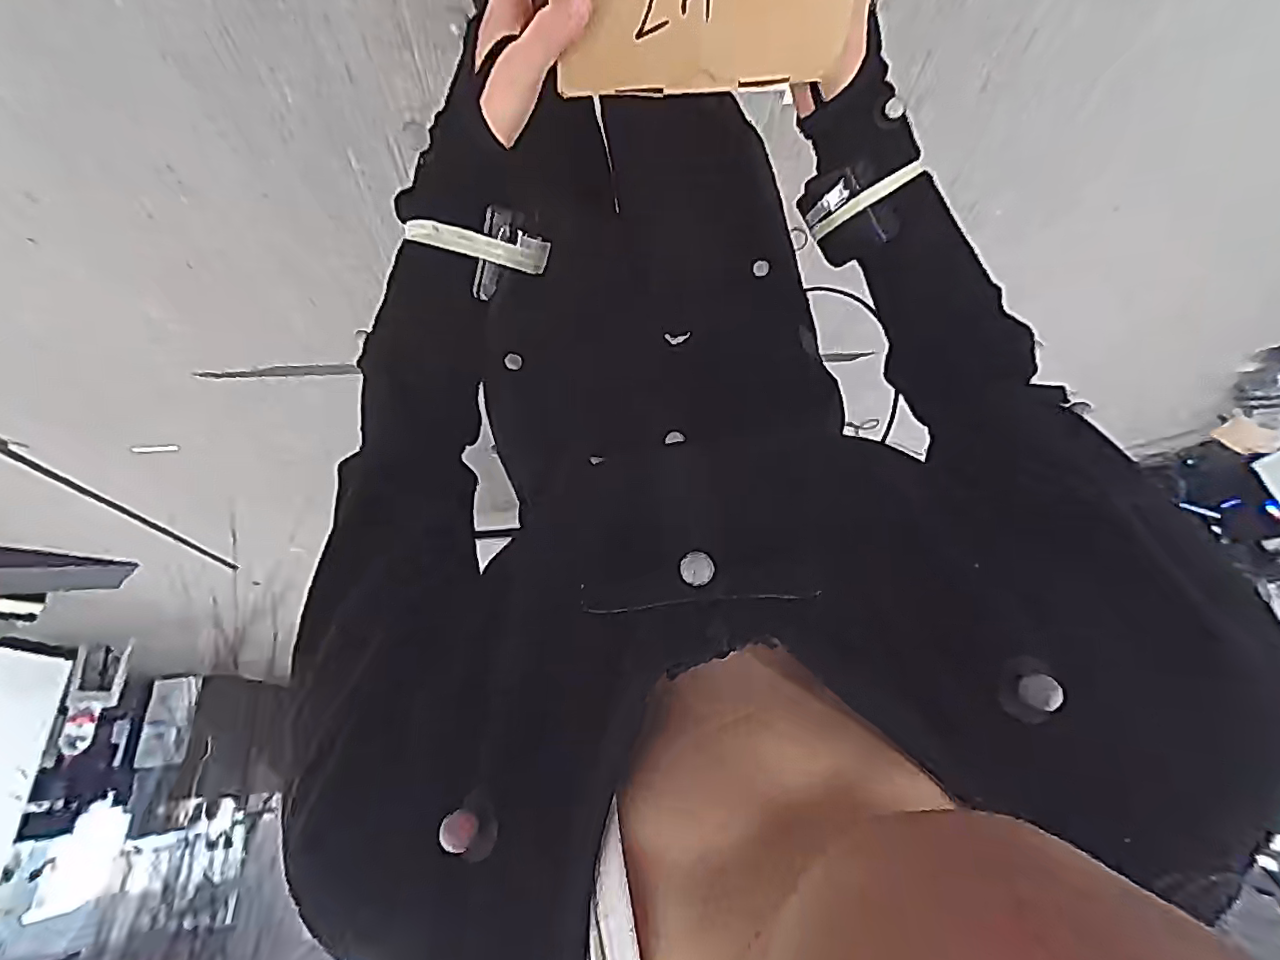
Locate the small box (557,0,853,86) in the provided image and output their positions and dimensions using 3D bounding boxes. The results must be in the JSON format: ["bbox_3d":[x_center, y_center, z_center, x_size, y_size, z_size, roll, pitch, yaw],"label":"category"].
[{"bbox_3d":[0.028,-0.353,0.317,0.168,0.176,0.179,-5,134,-1],"label":"small box"}]
